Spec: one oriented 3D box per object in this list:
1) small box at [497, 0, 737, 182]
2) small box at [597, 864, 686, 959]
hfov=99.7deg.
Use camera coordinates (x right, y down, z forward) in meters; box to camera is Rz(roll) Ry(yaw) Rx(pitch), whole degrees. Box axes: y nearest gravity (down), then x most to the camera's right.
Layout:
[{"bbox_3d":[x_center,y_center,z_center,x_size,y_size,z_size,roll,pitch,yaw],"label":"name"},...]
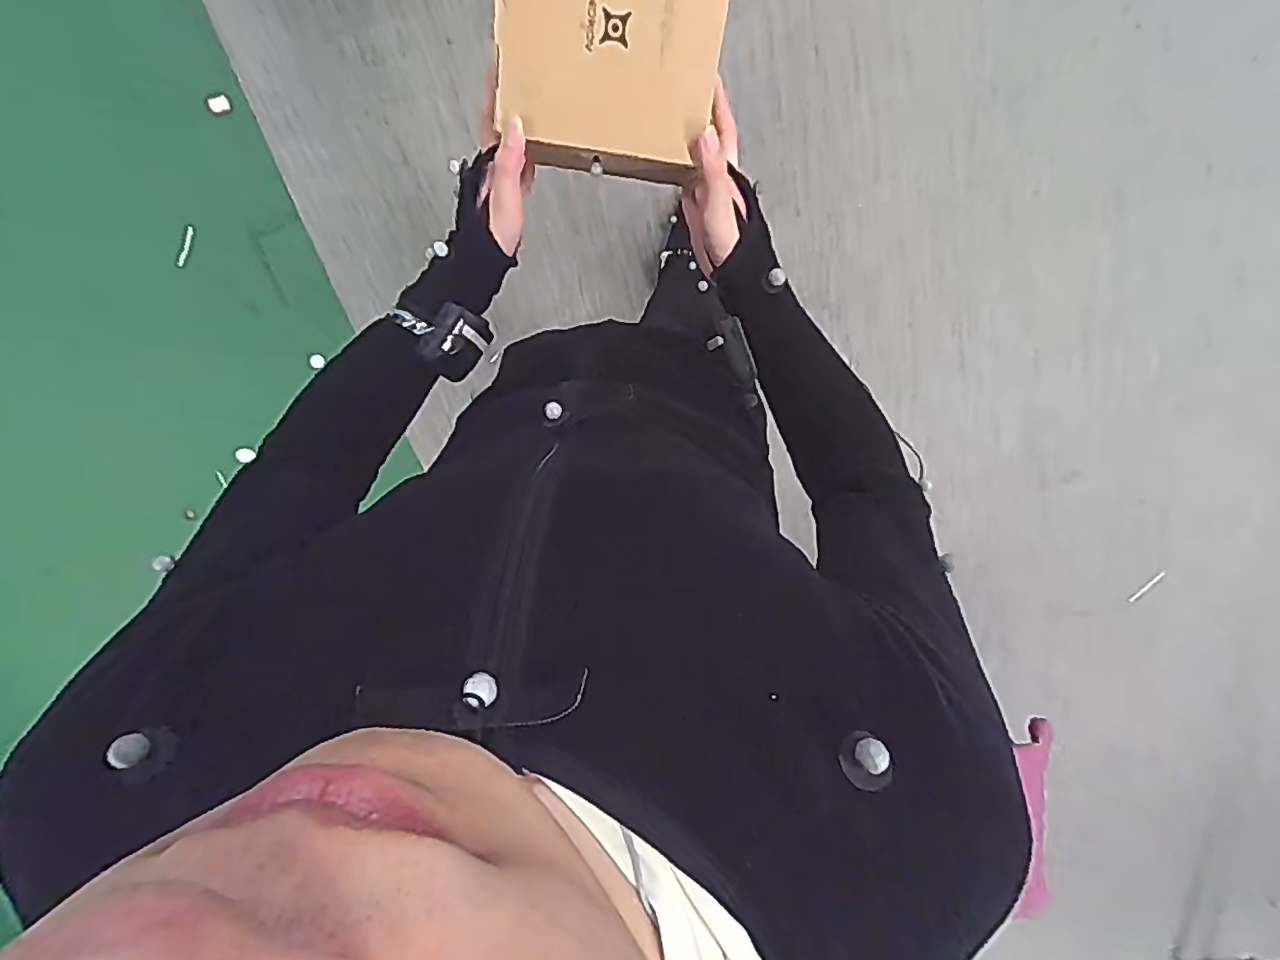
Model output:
[{"bbox_3d":[-0.017,-0.375,0.479,0.179,0.176,0.168,7,113,-4],"label":"small box"},{"bbox_3d":[0.010,1.068,1.302,0.179,0.176,0.168,-14,114,7],"label":"small box"}]
